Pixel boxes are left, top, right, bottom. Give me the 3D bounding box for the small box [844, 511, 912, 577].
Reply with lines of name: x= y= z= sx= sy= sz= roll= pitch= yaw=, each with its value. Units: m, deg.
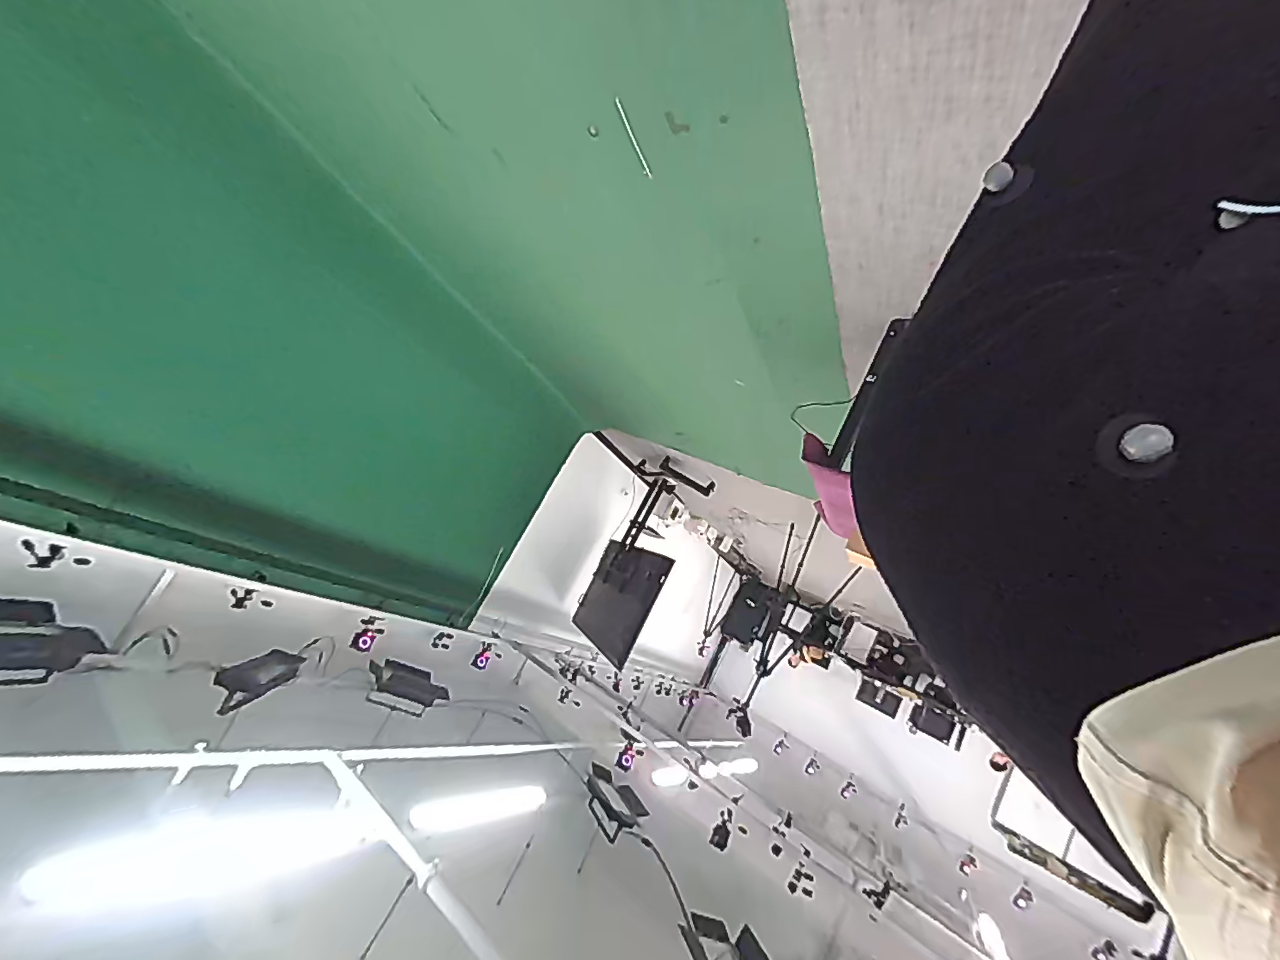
small box: x=0.876 y=0.229 z=1.989 sx=0.179 sy=0.176 sz=0.168 roll=21 pitch=167 yaw=32
